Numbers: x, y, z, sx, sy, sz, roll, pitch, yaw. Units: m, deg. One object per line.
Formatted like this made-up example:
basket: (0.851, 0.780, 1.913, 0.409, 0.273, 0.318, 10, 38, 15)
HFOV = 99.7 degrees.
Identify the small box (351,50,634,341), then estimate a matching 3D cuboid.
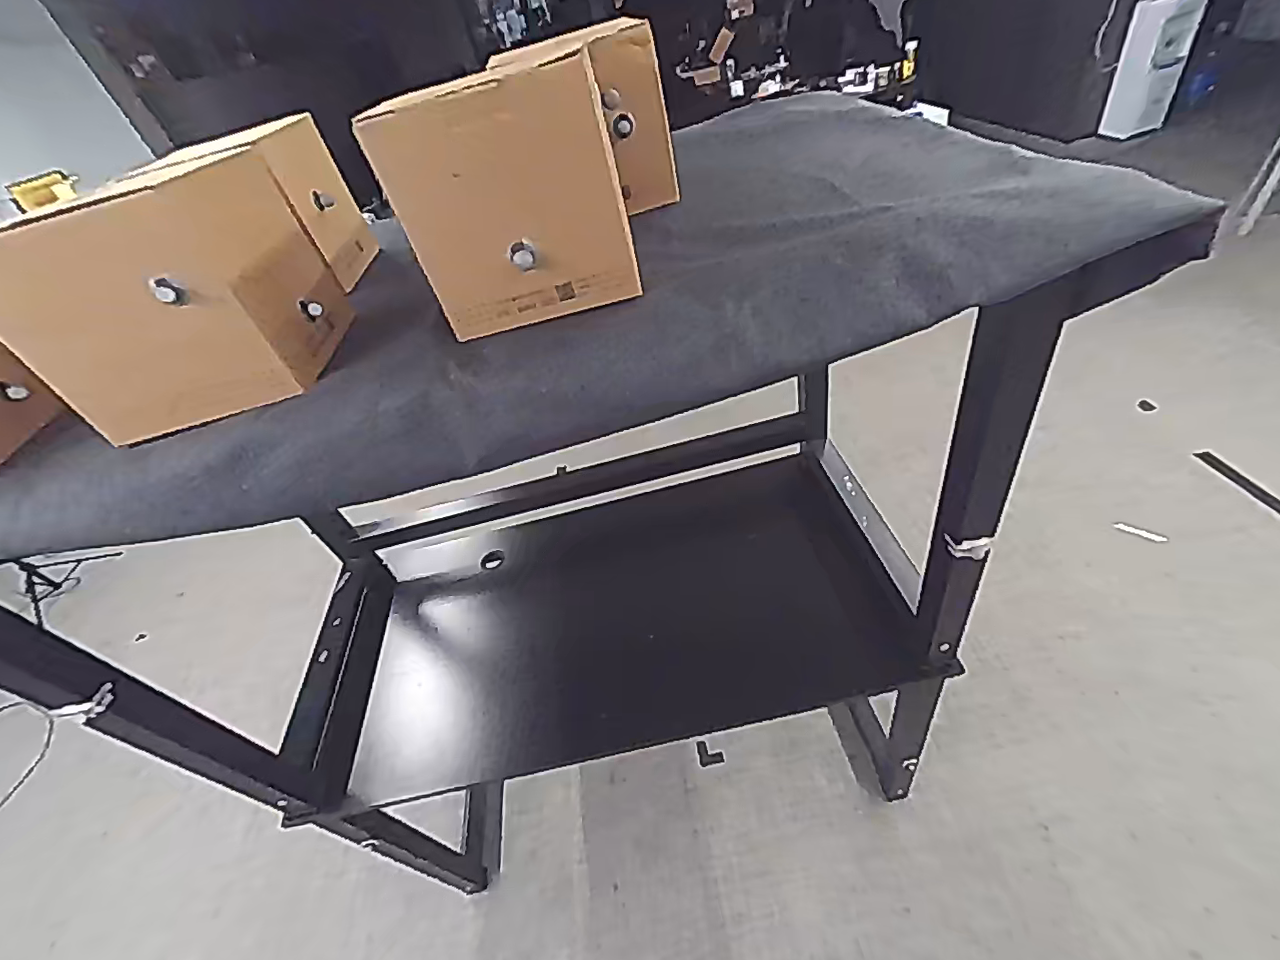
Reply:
small box: (-0.106, -0.247, 0.473, 0.168, 0.176, 0.179, -13, 41, 6)

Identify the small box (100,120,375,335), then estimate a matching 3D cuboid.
small box: (-0.456, -0.302, 0.654, 0.179, 0.176, 0.168, -14, 42, 4)

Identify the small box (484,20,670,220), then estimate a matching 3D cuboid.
small box: (-0.069, -0.405, 0.632, 0.168, 0.176, 0.179, -15, 42, 1)
